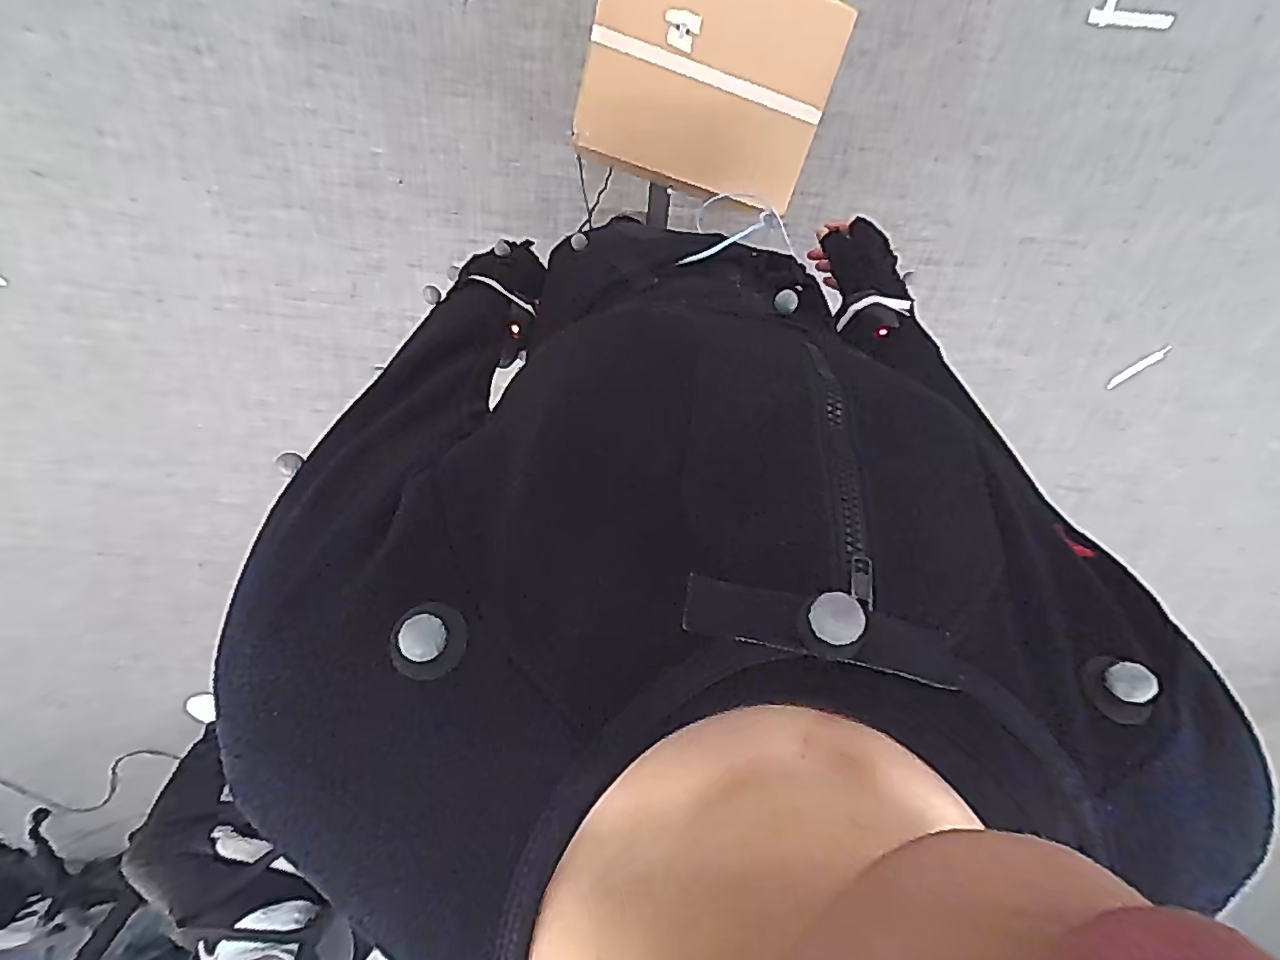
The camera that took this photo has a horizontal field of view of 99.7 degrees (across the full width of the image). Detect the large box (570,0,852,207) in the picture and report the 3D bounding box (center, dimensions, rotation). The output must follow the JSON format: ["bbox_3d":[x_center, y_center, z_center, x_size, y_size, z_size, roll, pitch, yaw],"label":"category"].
[{"bbox_3d":[0.108,-0.744,1.033,0.408,0.320,0.320,15,114,-10],"label":"large box"}]
